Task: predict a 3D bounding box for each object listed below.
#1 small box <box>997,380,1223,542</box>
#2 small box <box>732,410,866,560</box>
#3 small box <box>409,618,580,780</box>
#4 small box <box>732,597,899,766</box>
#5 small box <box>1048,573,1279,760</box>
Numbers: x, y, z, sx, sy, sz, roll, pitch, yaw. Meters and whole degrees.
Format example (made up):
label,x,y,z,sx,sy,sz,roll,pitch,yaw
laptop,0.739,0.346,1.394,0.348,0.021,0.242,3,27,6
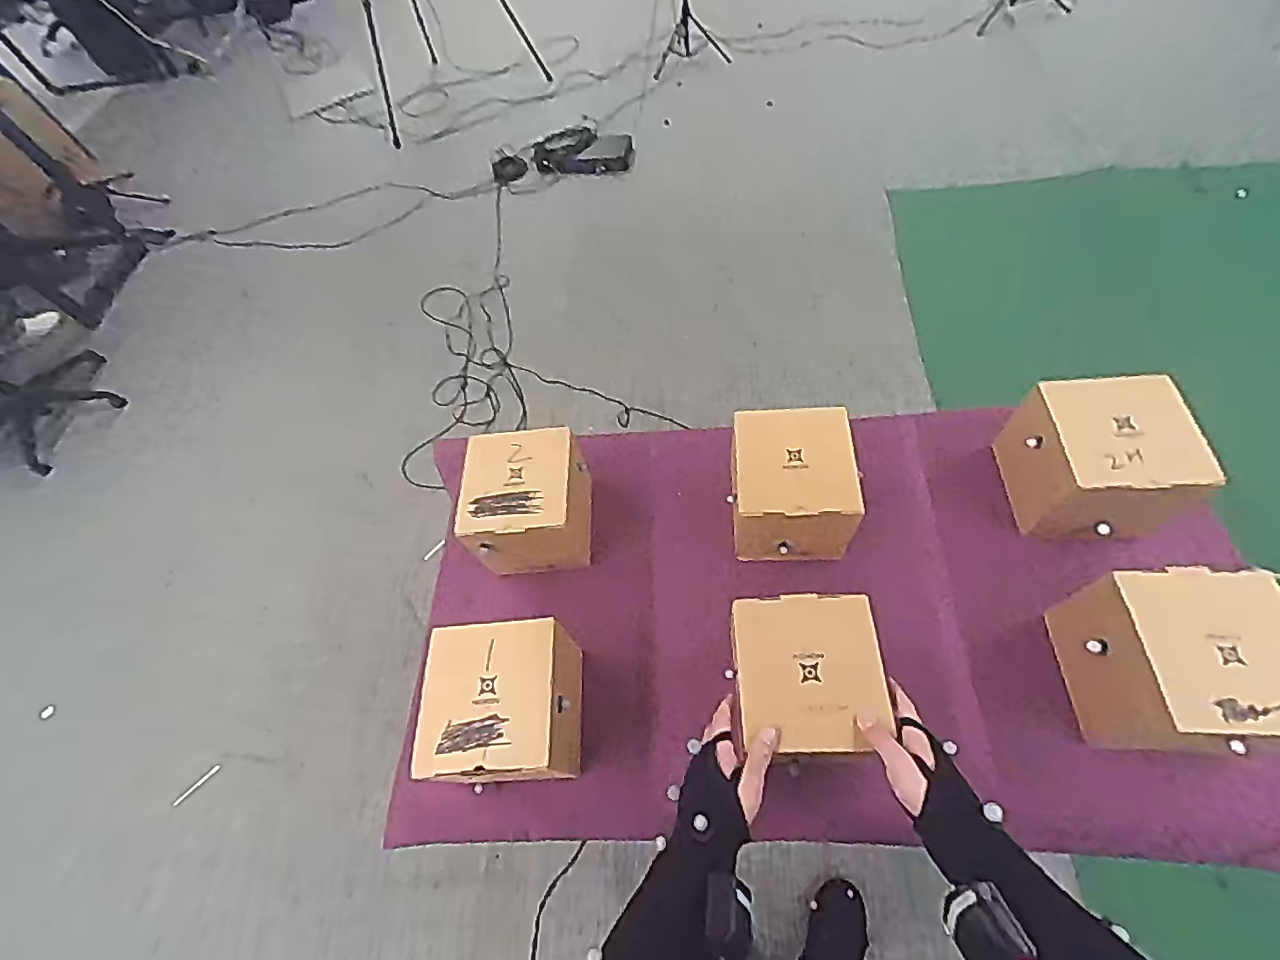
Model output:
label,x,y,z,sx,sy,sz,roll,pitch,yaw
small box,0.656,-0.023,0.787,0.168,0.176,0.179,-2,61,10
small box,0.231,0.011,0.833,0.168,0.176,0.179,-1,61,7
small box,-0.177,0.298,0.720,0.168,0.176,0.179,-5,58,4
small box,0.206,0.261,0.692,0.168,0.176,0.179,-3,60,7
small box,0.638,0.226,0.648,0.168,0.176,0.179,-1,58,8
